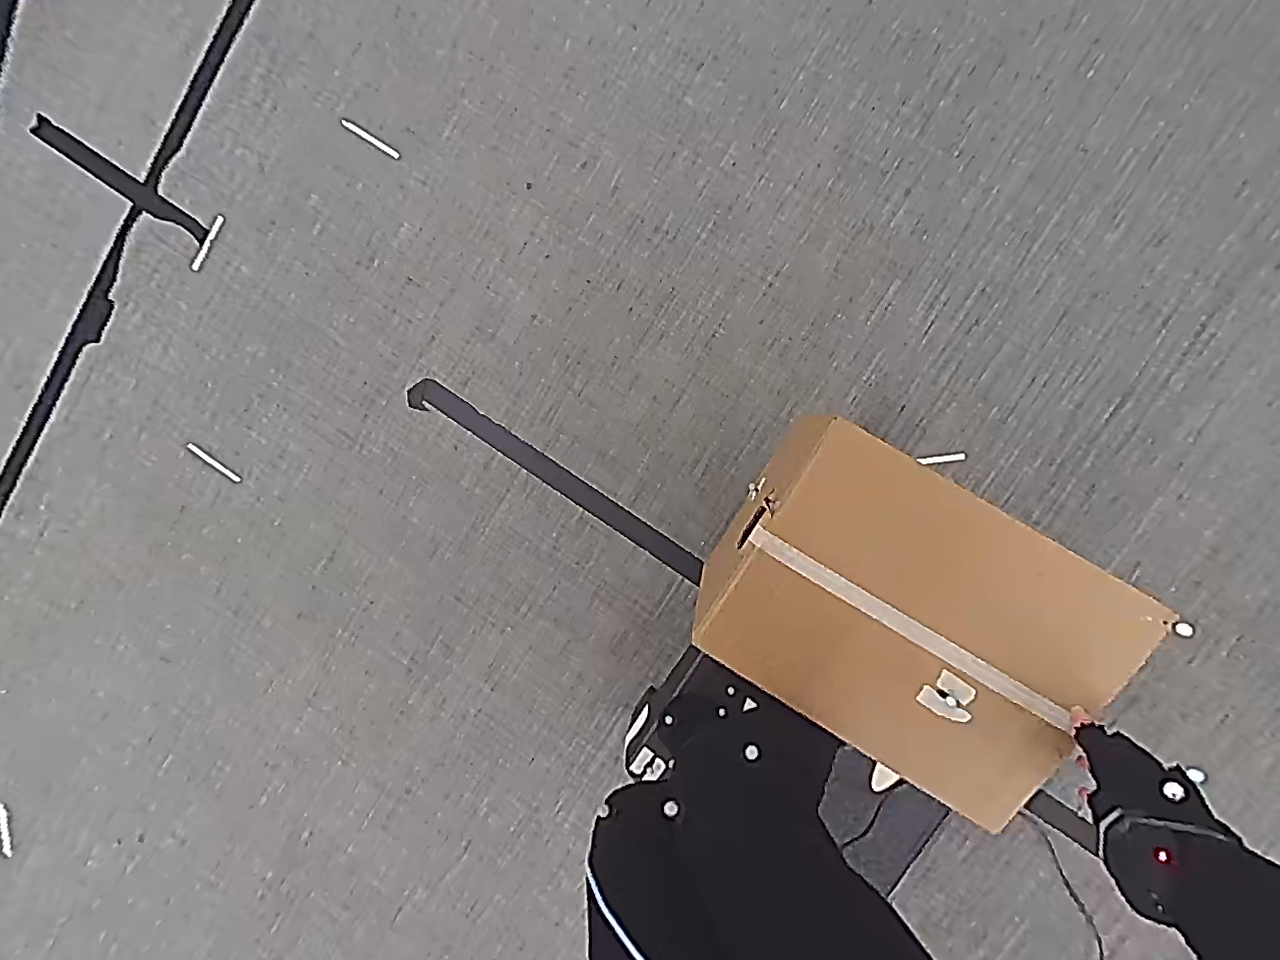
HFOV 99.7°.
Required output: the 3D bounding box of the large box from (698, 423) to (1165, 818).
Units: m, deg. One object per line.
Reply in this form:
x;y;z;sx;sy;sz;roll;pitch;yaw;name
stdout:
0.330;0.145;0.753;0.408;0.320;0.320;31;102;4;large box
